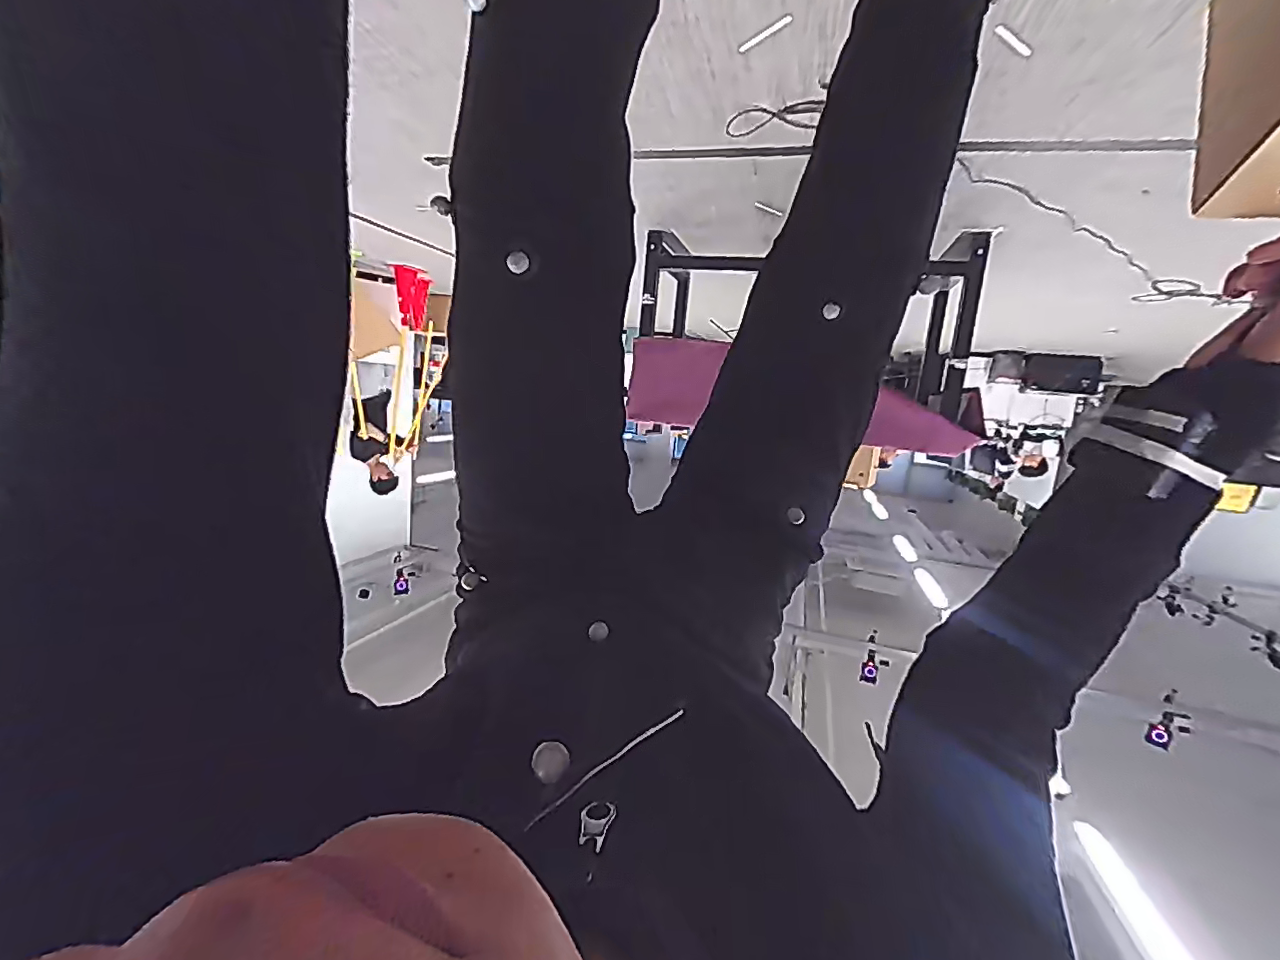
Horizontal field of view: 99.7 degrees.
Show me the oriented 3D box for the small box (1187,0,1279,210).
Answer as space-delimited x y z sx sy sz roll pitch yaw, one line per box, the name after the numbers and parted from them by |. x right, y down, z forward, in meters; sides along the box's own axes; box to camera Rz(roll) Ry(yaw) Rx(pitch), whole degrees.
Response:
0.399 -0.244 0.231 0.168 0.176 0.179 12 168 19 | small box
